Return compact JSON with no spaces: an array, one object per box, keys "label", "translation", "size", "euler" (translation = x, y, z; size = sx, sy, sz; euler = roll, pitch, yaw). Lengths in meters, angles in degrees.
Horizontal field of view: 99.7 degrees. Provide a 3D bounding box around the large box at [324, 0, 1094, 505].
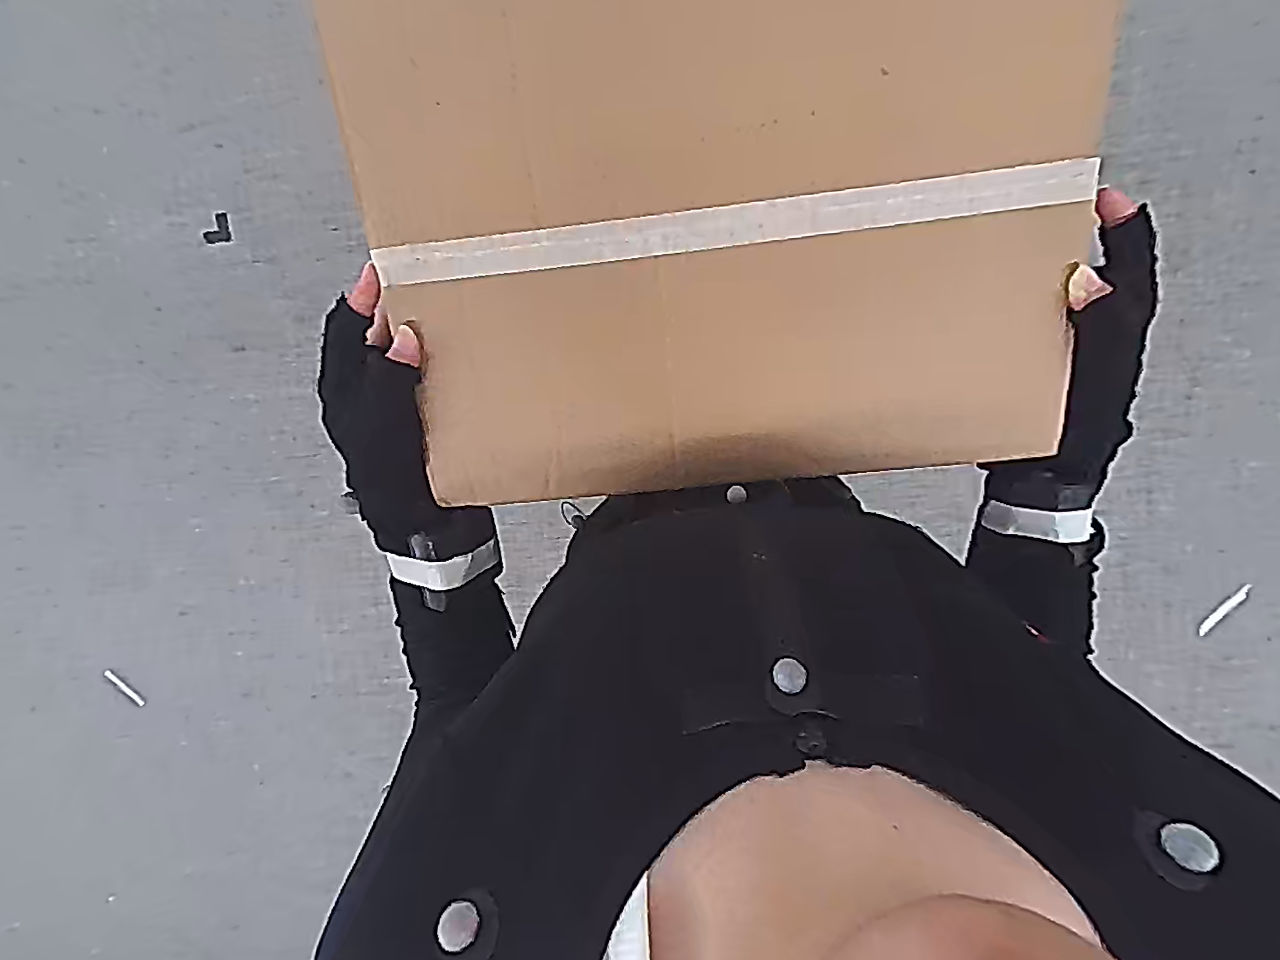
[{"label":"large box","translation":[0.050,-0.194,0.459],"size":[0.408,0.320,0.320],"euler":[-5,109,4]}]
